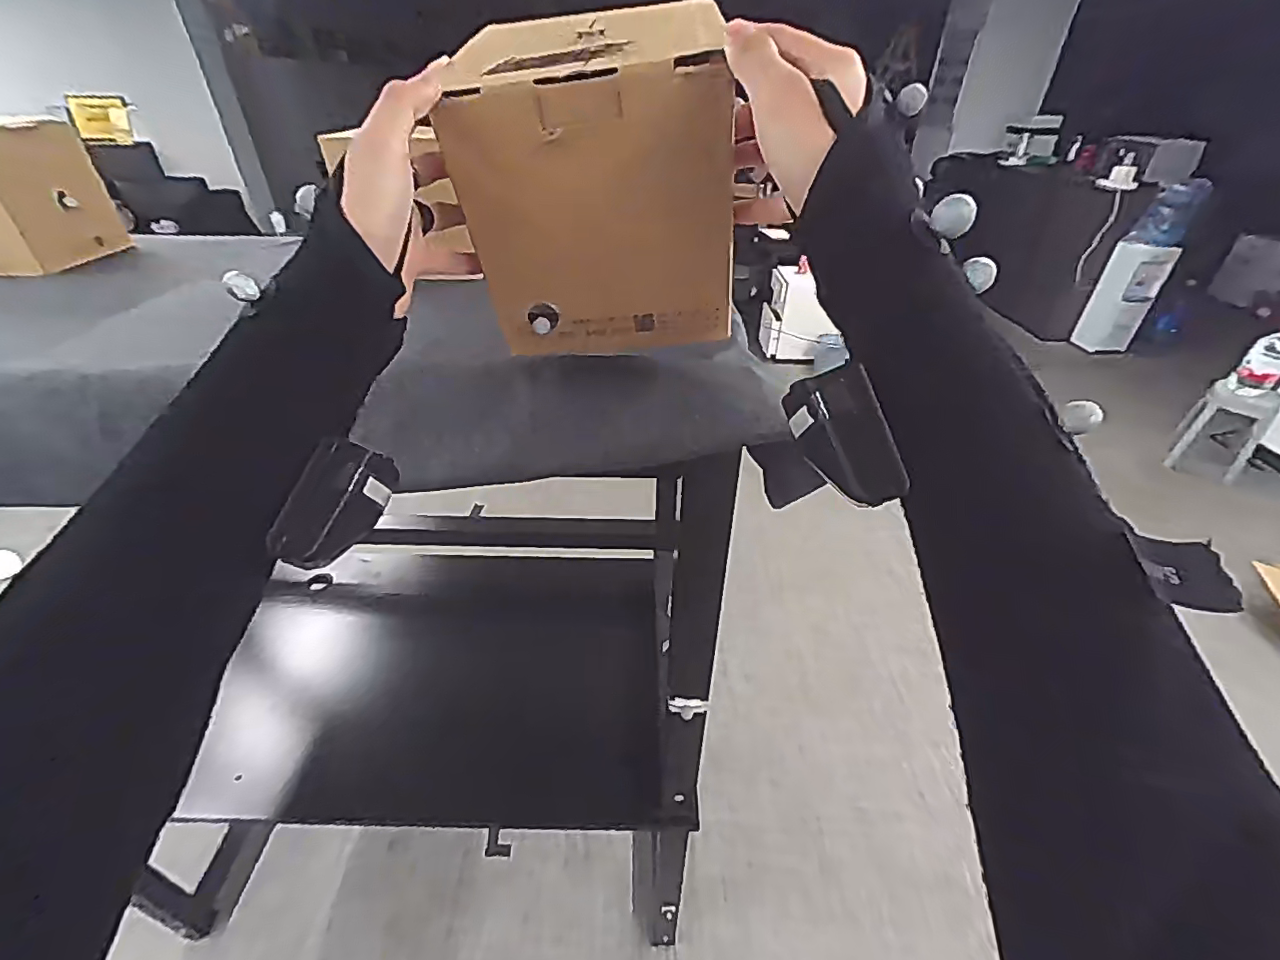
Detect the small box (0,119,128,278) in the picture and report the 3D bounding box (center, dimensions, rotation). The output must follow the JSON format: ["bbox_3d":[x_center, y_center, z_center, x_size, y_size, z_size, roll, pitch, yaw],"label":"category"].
[{"bbox_3d":[-0.870,-0.380,0.732,0.179,0.176,0.168,0,36,-3],"label":"small box"}]

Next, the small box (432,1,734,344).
[{"bbox_3d":[-0.020,-0.213,0.393,0.168,0.176,0.179,-3,49,5],"label":"small box"}]

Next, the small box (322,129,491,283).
[{"bbox_3d":[-0.293,-0.379,0.747,0.168,0.176,0.179,0,36,-1],"label":"small box"}]
